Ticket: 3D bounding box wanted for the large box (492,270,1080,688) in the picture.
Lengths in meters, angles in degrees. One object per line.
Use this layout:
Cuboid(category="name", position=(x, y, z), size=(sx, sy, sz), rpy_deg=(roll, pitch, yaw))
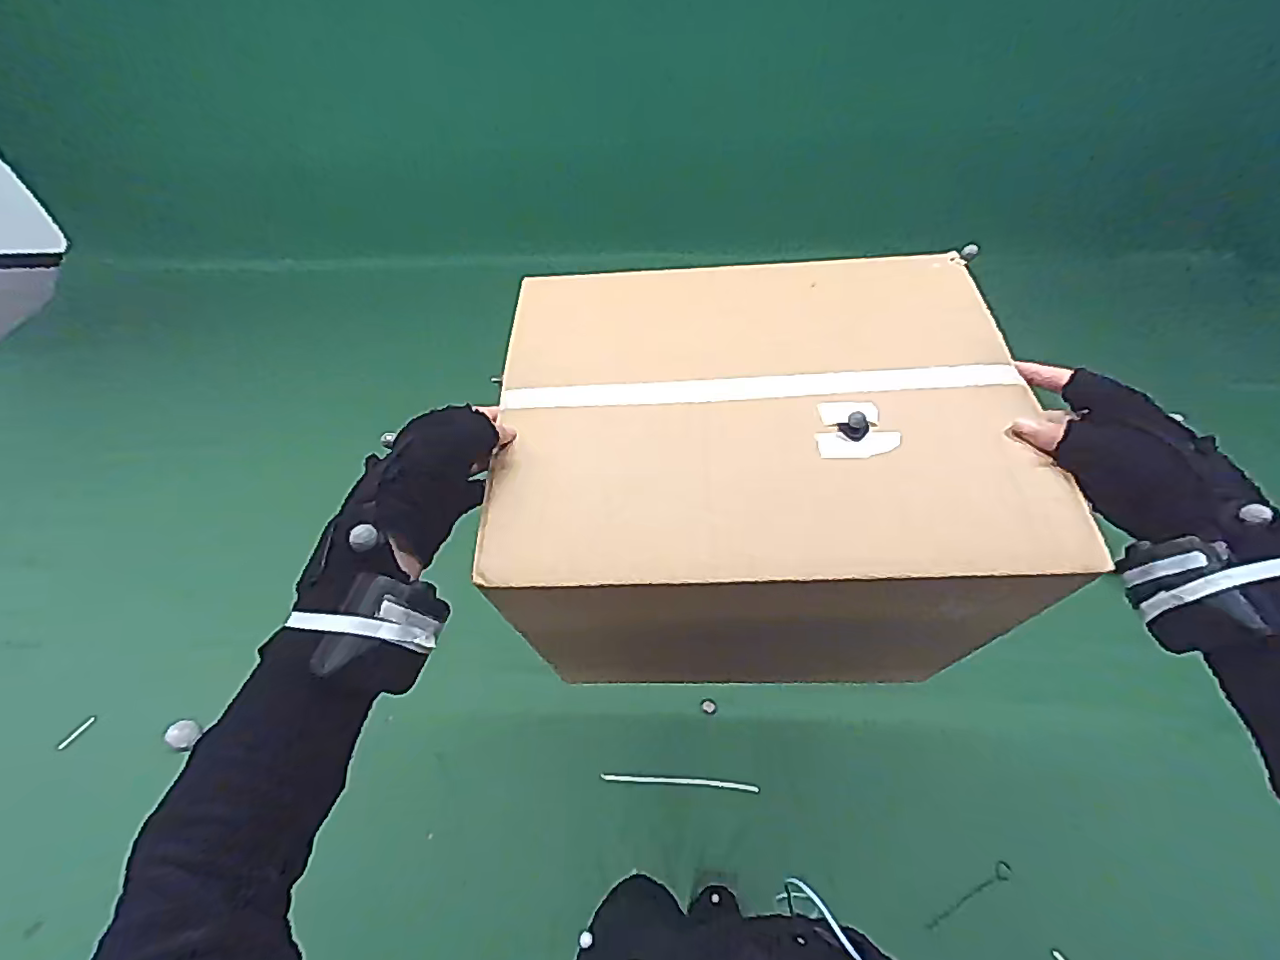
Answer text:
Cuboid(category="large box", position=(0.100, 0.020, 0.567), size=(0.408, 0.320, 0.320), rpy_deg=(-3, 58, 4))
